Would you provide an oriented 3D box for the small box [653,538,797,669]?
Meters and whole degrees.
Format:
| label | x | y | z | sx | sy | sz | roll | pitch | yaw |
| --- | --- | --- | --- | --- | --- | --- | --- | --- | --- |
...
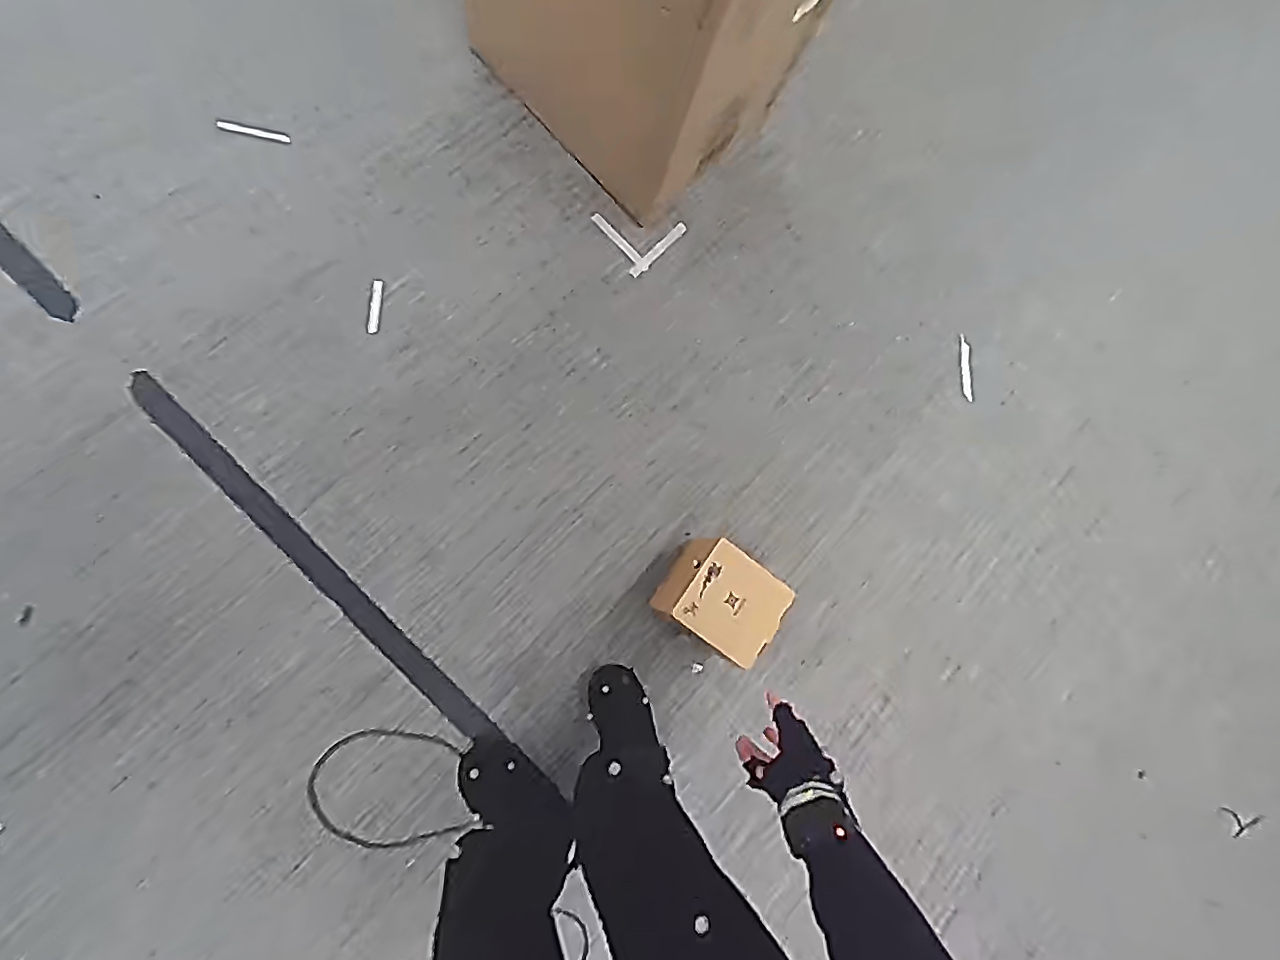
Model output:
| label | x | y | z | sx | sy | sz | roll | pitch | yaw |
| --- | --- | --- | --- | --- | --- | --- | --- | --- | --- |
| small box | 0.151 | 0.220 | 1.015 | 0.179 | 0.176 | 0.168 | 37 | 77 | -6 |
